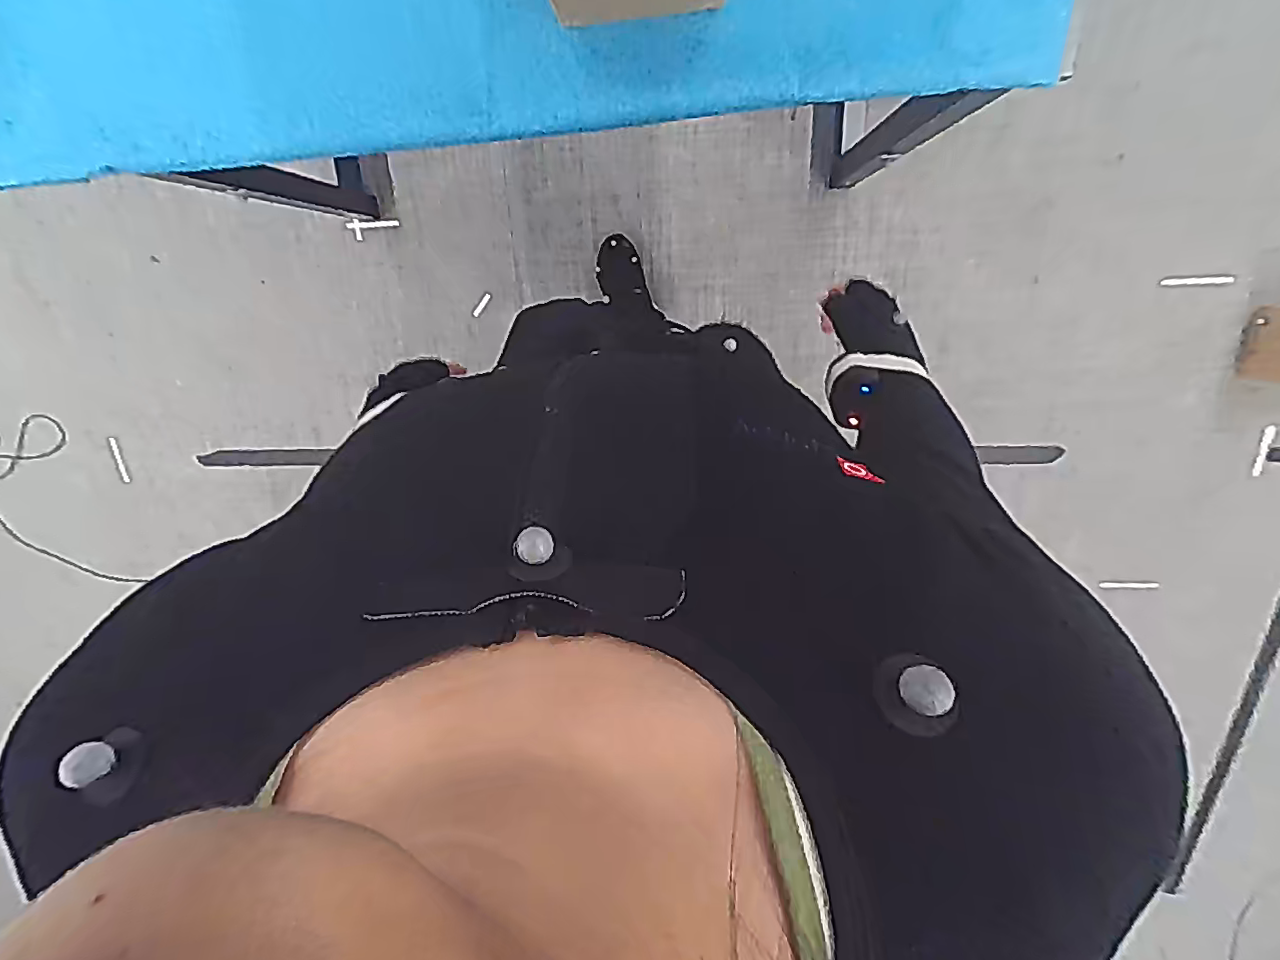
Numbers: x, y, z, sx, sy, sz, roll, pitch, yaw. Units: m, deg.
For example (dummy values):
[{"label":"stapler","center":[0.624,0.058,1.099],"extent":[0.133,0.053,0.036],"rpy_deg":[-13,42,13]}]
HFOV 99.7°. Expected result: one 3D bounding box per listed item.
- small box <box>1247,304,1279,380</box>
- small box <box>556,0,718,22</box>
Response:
[{"label":"small box","center":[1.514,-0.301,1.182],"extent":[0.179,0.176,0.168],"rpy_deg":[-2,110,5]},{"label":"small box","center":[-0.007,-0.530,0.462],"extent":[0.179,0.176,0.168],"rpy_deg":[-1,110,5]}]
